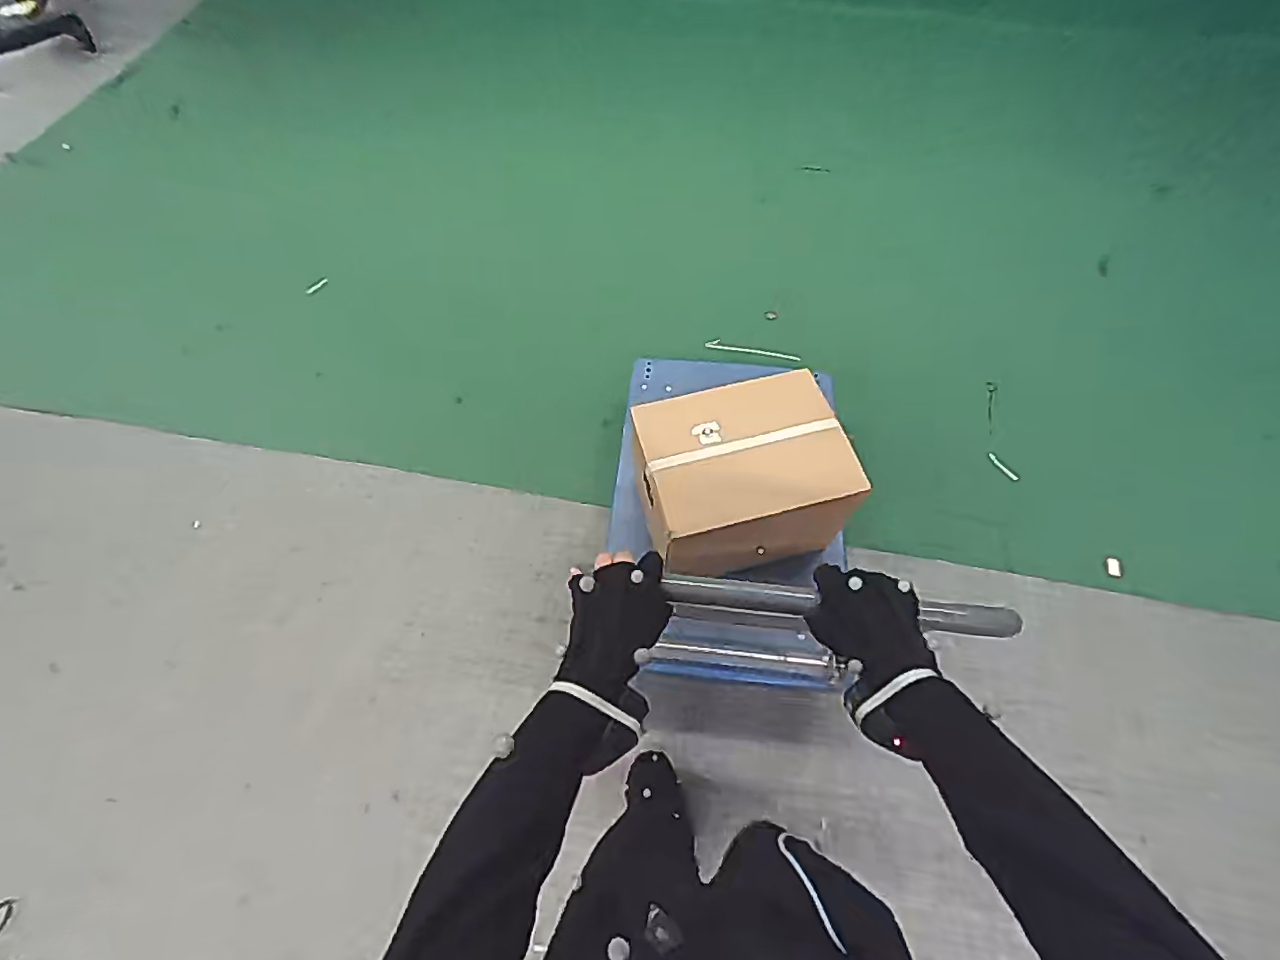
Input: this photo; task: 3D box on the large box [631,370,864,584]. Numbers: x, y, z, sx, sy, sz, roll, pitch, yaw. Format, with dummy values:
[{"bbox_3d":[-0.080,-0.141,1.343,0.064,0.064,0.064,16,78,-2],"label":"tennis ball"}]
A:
[{"bbox_3d":[0.213,0.005,1.224,0.408,0.320,0.320,-13,62,-5],"label":"large box"}]
